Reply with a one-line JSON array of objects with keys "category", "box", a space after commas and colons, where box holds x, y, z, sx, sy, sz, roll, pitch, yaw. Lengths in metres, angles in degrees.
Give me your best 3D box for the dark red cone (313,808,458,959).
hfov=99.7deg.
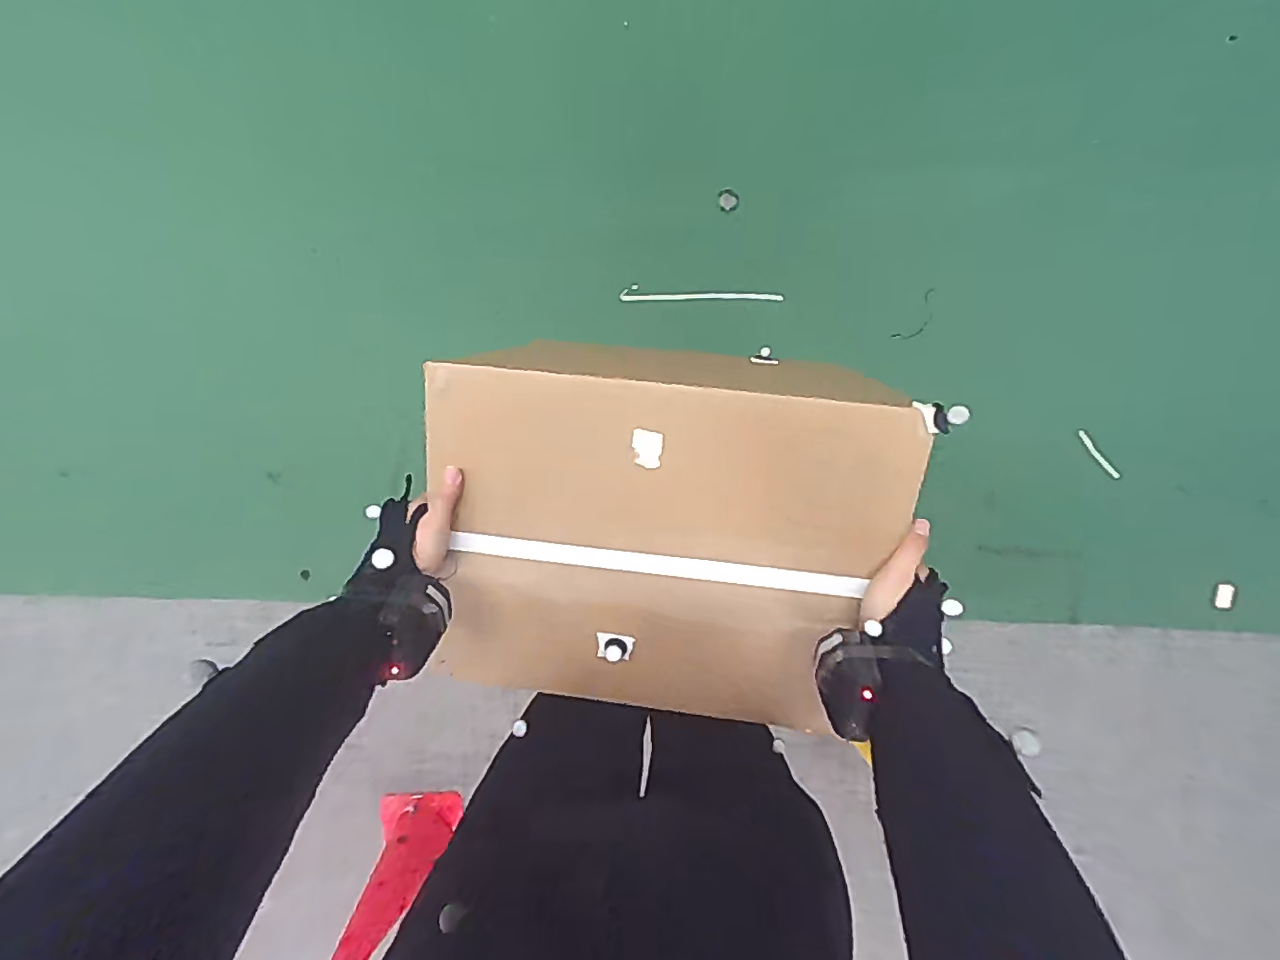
[{"category": "dark red cone", "box": [-0.522, 0.838, 1.040, 0.202, 0.394, 0.201, -7, 93, 6]}]
